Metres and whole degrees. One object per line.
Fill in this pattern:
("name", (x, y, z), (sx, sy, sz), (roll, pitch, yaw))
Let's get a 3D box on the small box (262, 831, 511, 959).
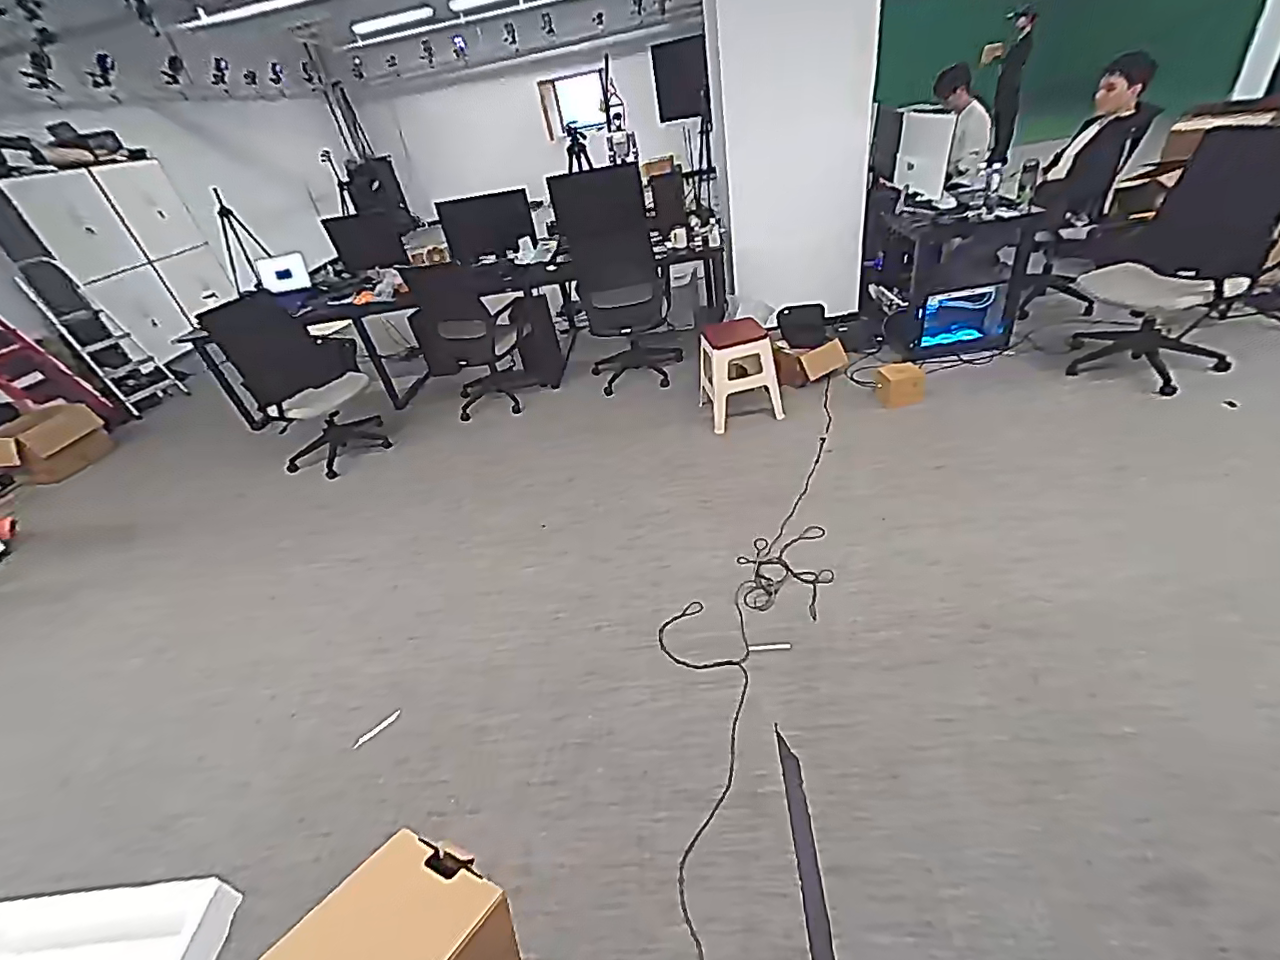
("small box", (-0.239, 0.507, 0.529), (0.168, 0.176, 0.179), (4, 18, 32))
